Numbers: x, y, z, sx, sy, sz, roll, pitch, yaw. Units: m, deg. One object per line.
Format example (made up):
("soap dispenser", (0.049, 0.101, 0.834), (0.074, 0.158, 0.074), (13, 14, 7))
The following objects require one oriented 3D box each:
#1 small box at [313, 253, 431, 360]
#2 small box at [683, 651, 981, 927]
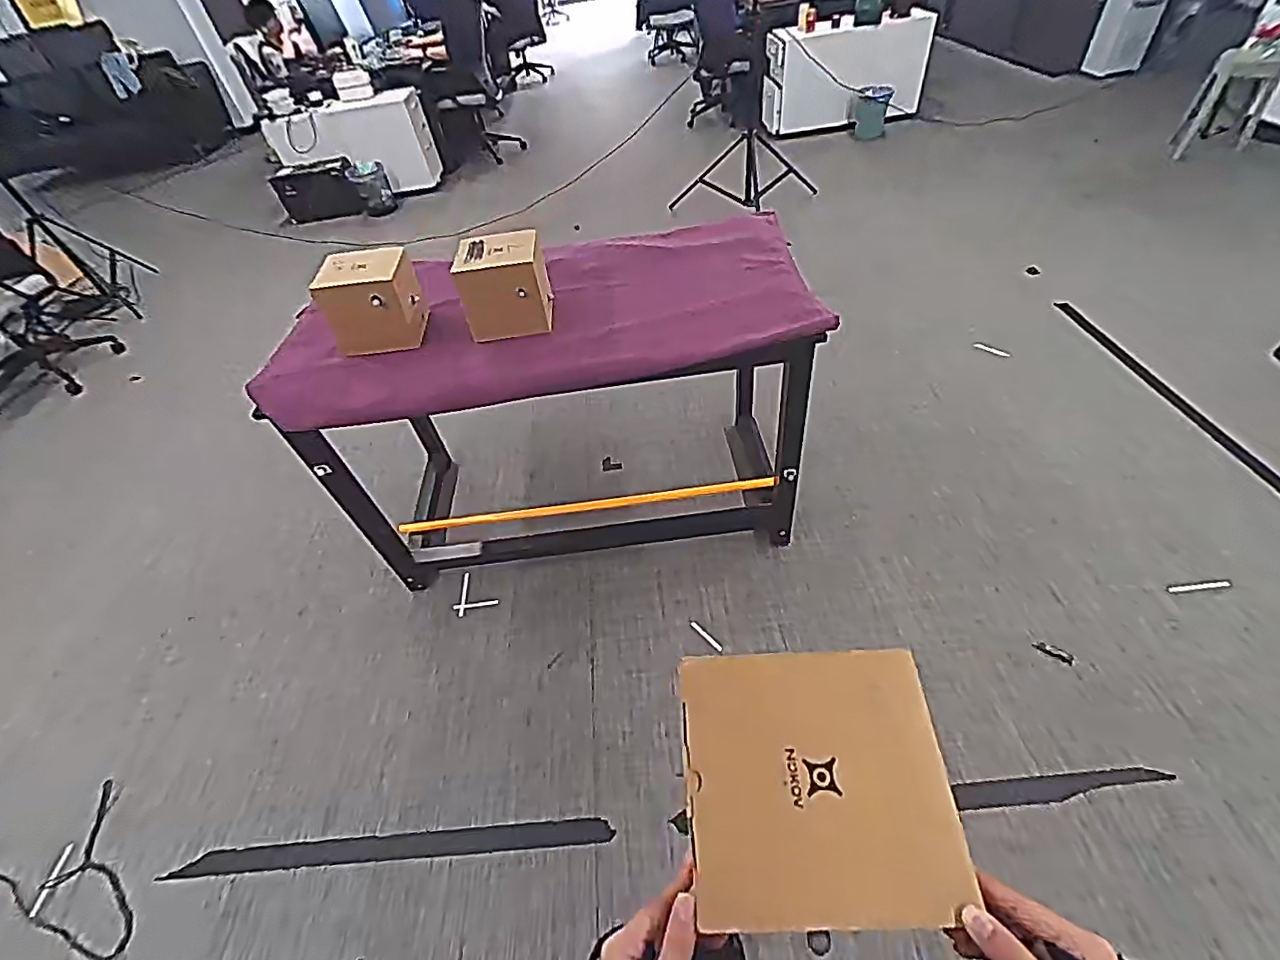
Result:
("small box", (-0.601, -0.396, 1.242), (0.179, 0.176, 0.168), (-8, 46, -2))
("small box", (0.127, 0.243, 0.440), (0.179, 0.176, 0.168), (-4, 58, 4))
